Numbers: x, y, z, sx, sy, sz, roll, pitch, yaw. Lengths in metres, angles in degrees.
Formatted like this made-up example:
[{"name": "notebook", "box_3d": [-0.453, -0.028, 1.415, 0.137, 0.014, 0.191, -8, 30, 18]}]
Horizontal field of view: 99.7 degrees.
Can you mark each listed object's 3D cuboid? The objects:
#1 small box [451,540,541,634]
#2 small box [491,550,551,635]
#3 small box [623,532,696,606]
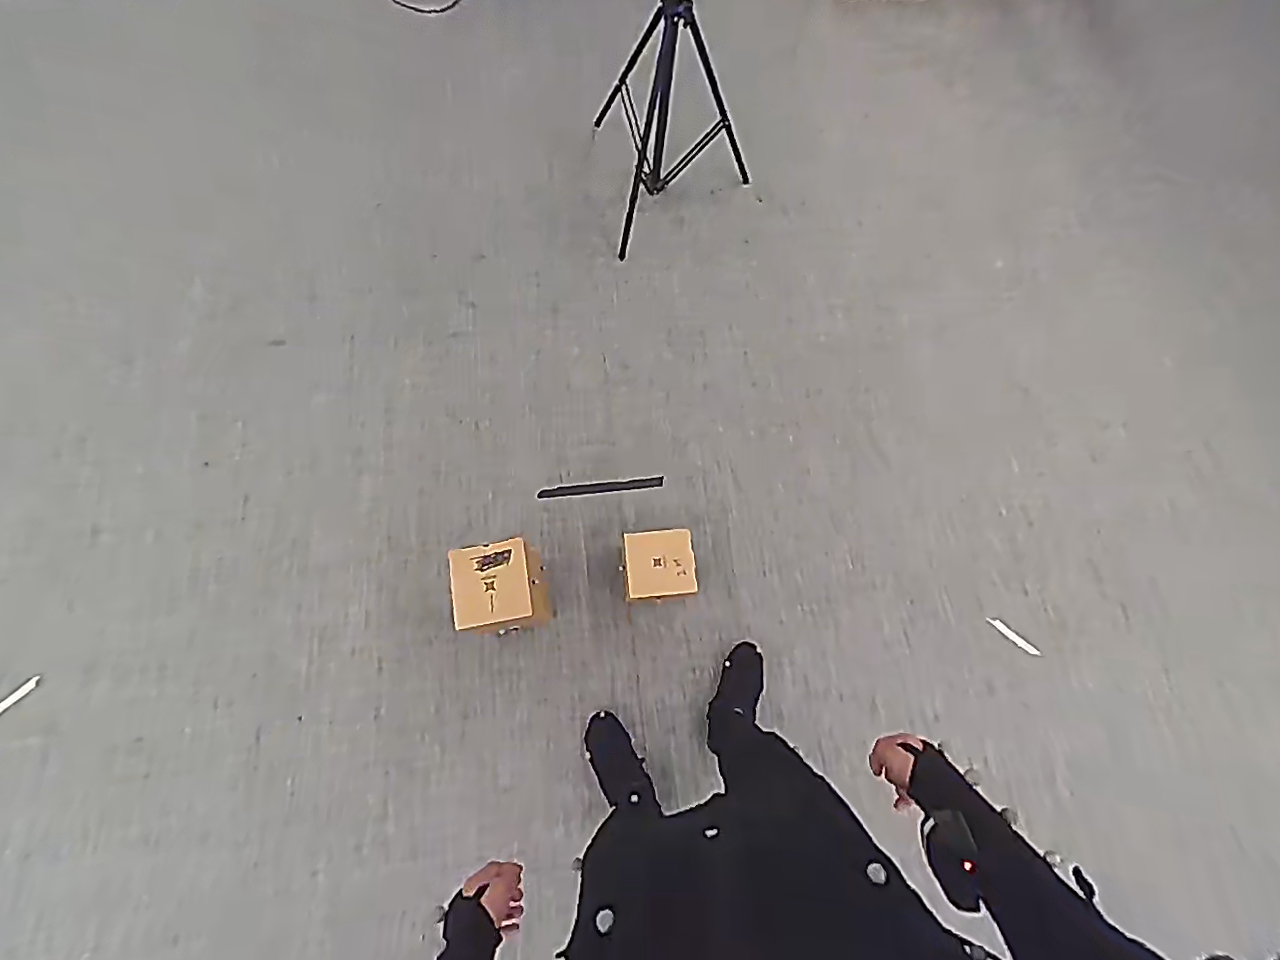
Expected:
[{"name": "small box", "box_3d": [-0.327, 0.251, 1.247, 0.168, 0.176, 0.179, -9, 73, -6]}, {"name": "small box", "box_3d": [-0.330, 0.296, 1.405, 0.168, 0.176, 0.179, -10, 73, -7]}, {"name": "small box", "box_3d": [0.045, 0.242, 1.447, 0.179, 0.176, 0.168, -3, 73, -6]}]
